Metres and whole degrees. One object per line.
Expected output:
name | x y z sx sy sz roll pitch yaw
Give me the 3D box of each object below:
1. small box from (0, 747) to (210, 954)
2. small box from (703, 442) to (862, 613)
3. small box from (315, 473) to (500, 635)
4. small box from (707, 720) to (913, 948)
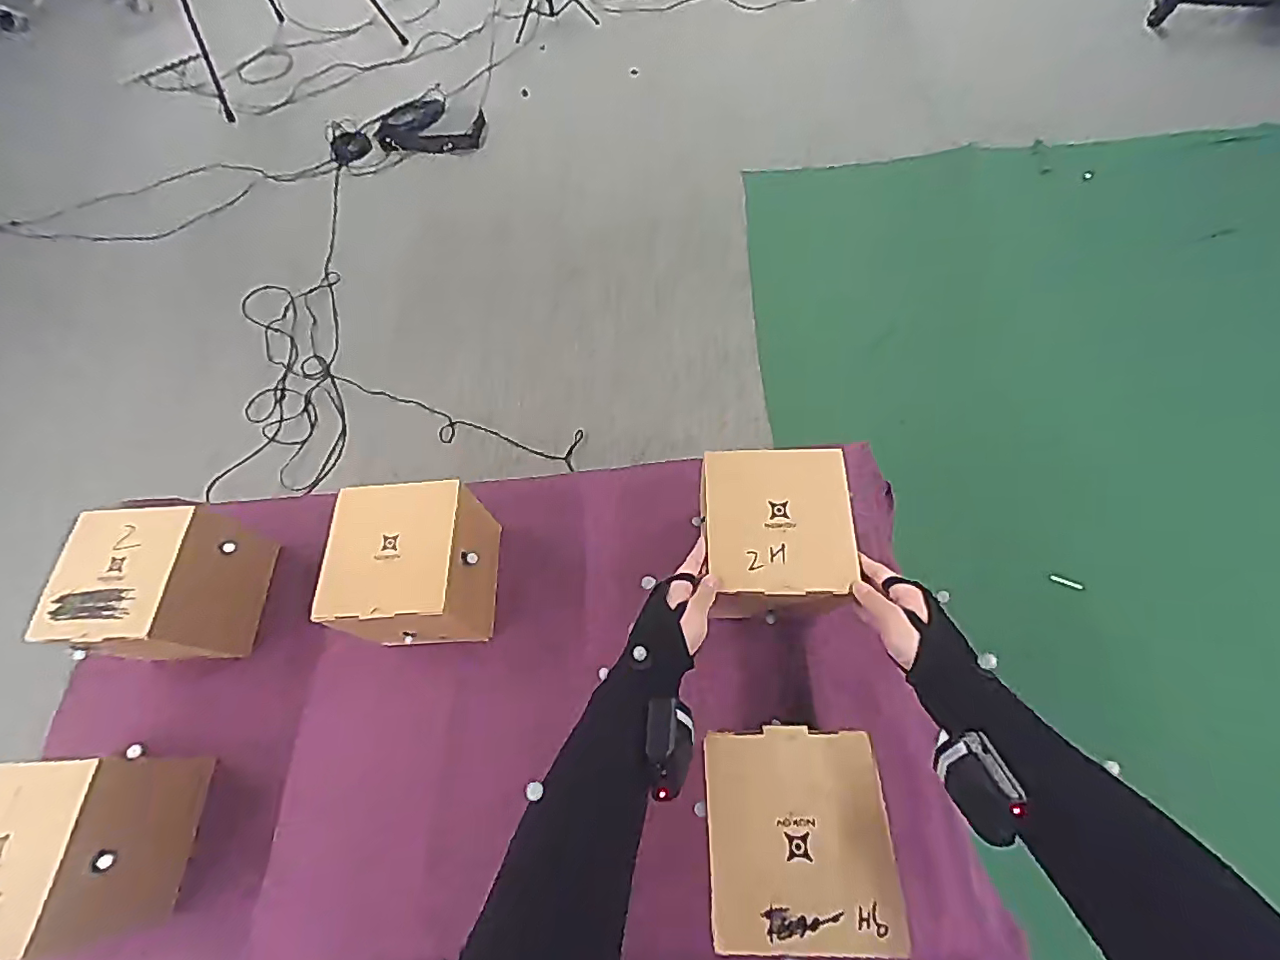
small box | -0.656 0.411 0.627 0.168 0.176 0.179 -4 63 4
small box | 0.166 0.066 0.692 0.168 0.176 0.179 0 68 5
small box | -0.299 0.107 0.741 0.168 0.176 0.179 -4 65 4
small box | 0.157 0.356 0.570 0.168 0.176 0.179 -3 62 5
